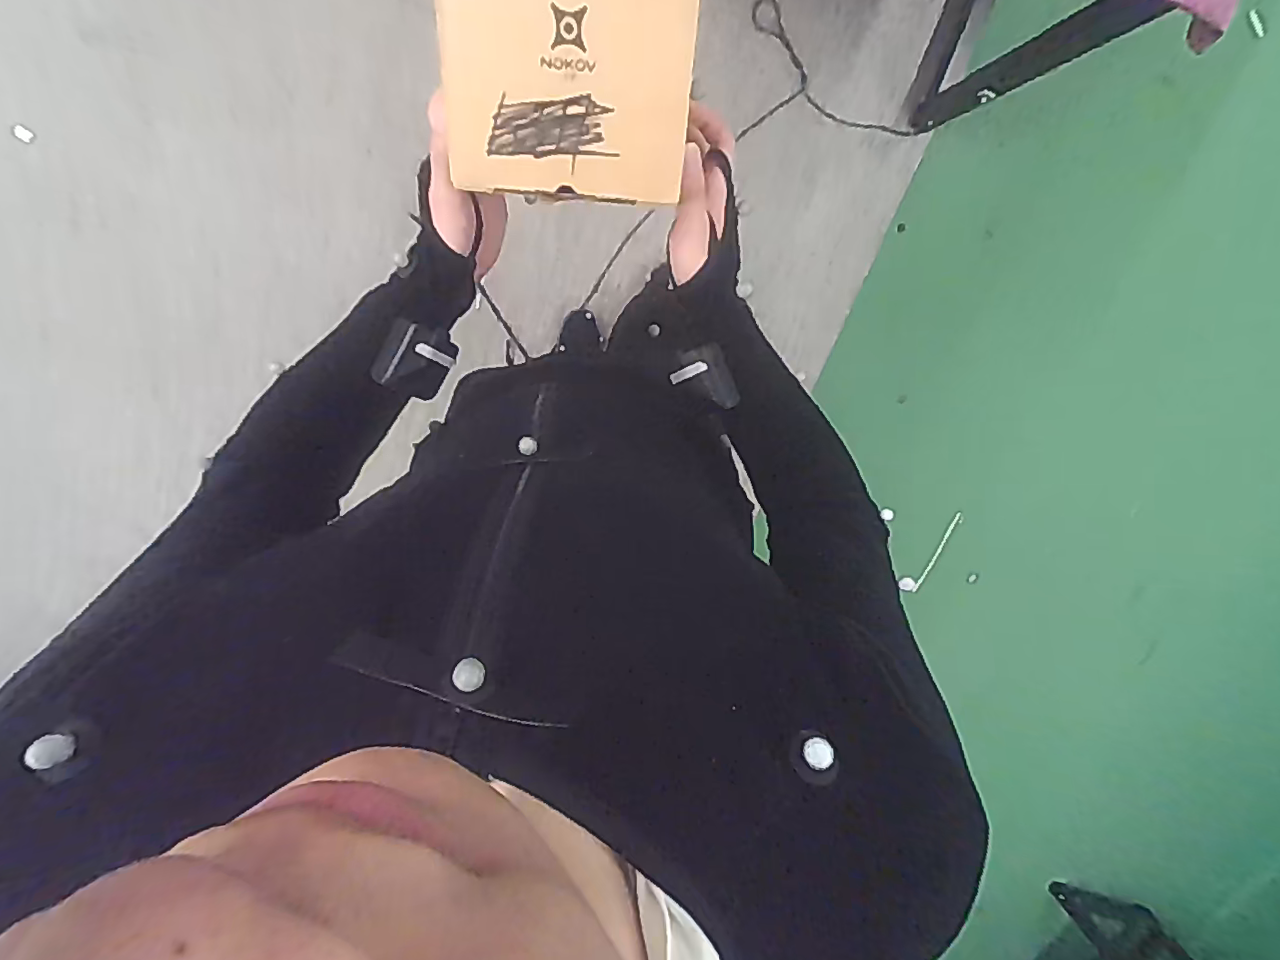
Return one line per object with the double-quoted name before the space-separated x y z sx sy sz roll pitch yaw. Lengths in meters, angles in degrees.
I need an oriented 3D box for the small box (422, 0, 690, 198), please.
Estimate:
"small box" -0.050 -0.318 0.403 0.168 0.176 0.179 4 119 -2
